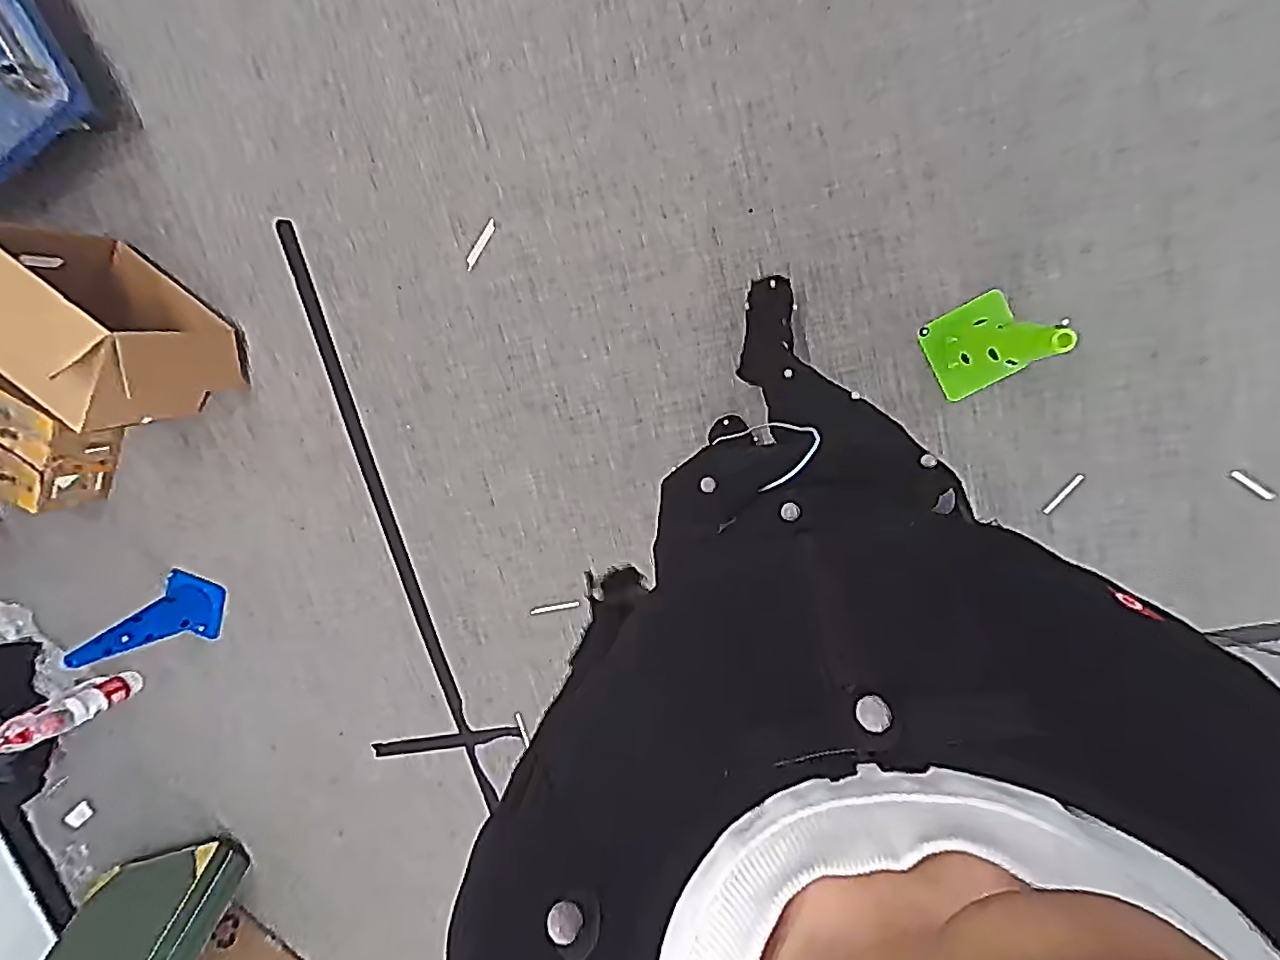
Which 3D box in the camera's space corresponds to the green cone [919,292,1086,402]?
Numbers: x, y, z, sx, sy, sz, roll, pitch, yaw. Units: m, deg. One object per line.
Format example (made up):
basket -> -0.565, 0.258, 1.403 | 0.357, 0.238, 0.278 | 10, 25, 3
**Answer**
green cone -> 0.766, -0.275, 1.105 | 0.202, 0.368, 0.200 | -29, 97, 12
